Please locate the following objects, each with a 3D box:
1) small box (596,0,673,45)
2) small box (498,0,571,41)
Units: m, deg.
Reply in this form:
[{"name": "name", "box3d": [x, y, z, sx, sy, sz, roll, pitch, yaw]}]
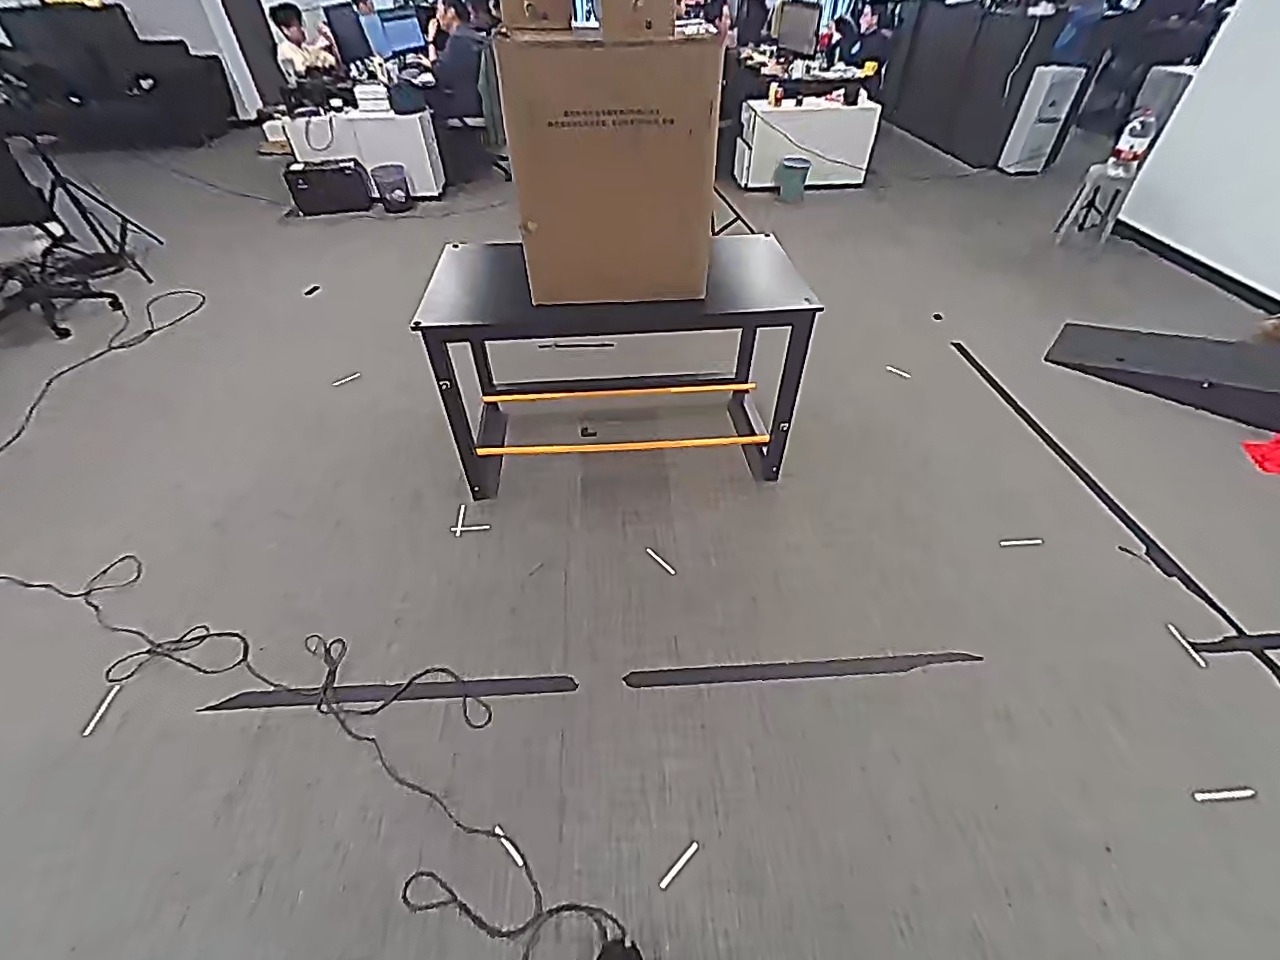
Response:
[{"name": "small box", "box3d": [-0.017, -1.105, 1.225, 0.168, 0.176, 0.179, -6, 45, -3]}, {"name": "small box", "box3d": [-0.259, -1.181, 1.308, 0.168, 0.176, 0.179, -7, 45, -6]}]
